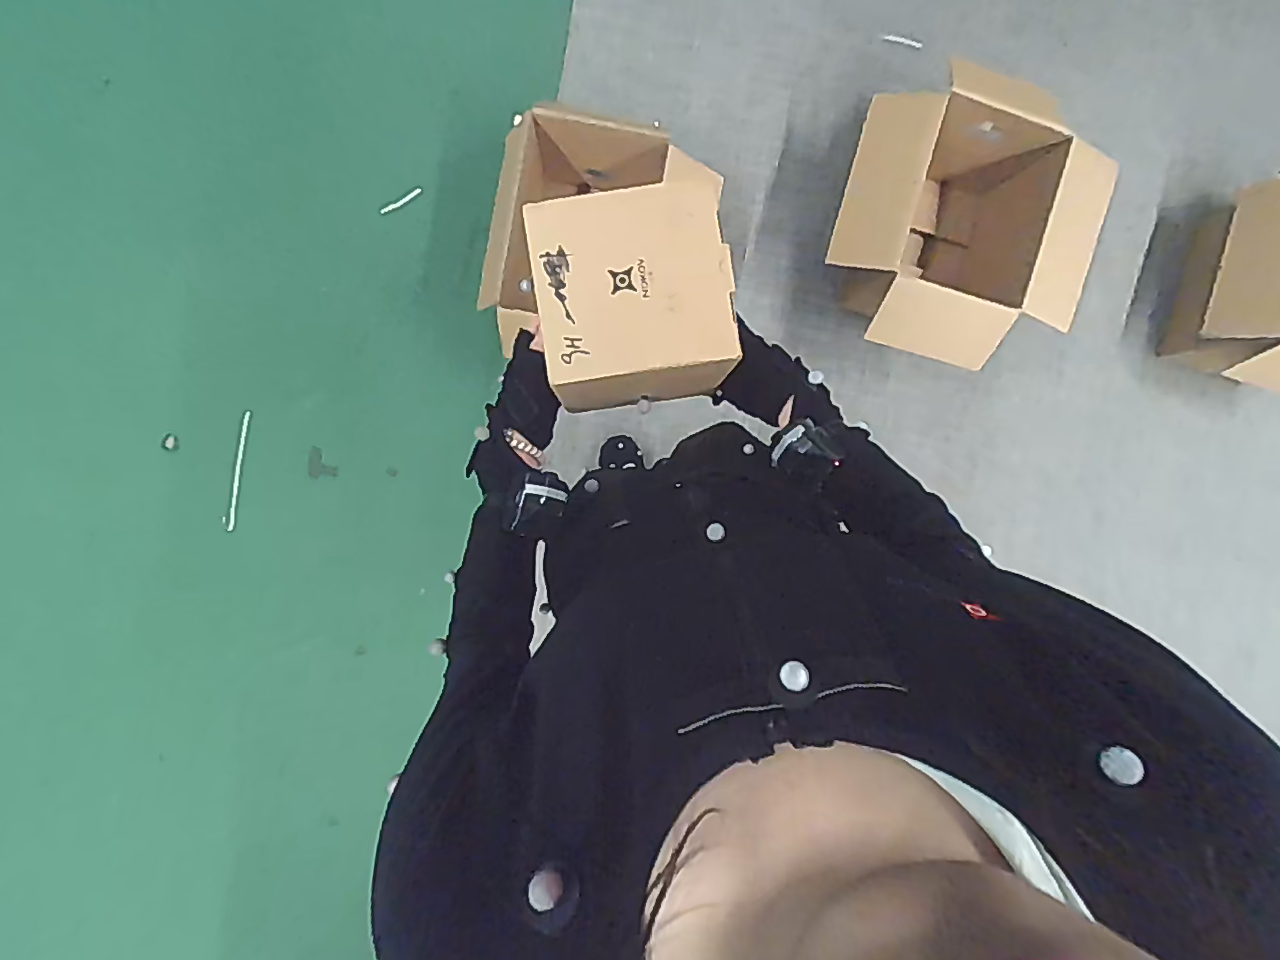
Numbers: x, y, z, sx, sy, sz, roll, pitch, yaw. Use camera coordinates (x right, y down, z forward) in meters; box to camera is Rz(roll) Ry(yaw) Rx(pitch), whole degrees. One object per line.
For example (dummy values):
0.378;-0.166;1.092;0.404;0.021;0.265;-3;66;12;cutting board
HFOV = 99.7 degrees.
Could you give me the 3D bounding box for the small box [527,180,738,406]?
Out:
-0.010;-0.179;0.565;0.179;0.176;0.168;-8;88;-2;small box
